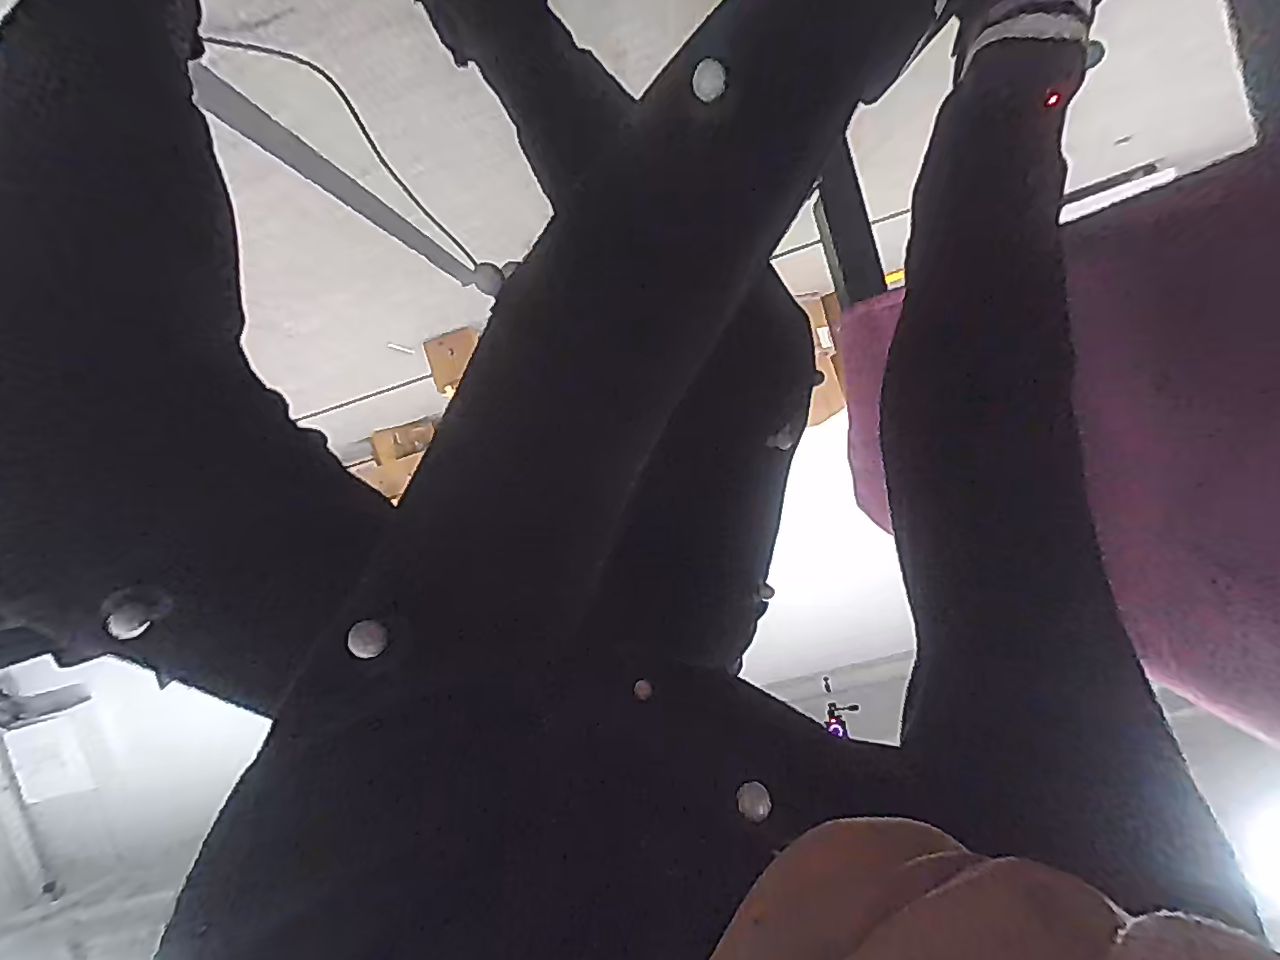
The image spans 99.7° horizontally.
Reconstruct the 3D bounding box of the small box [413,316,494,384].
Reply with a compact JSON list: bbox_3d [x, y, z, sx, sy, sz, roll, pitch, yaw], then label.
[{"bbox_3d":[-0.603,-0.419,1.756,0.168,0.176,0.179,-16,-176,10],"label":"small box"}]
